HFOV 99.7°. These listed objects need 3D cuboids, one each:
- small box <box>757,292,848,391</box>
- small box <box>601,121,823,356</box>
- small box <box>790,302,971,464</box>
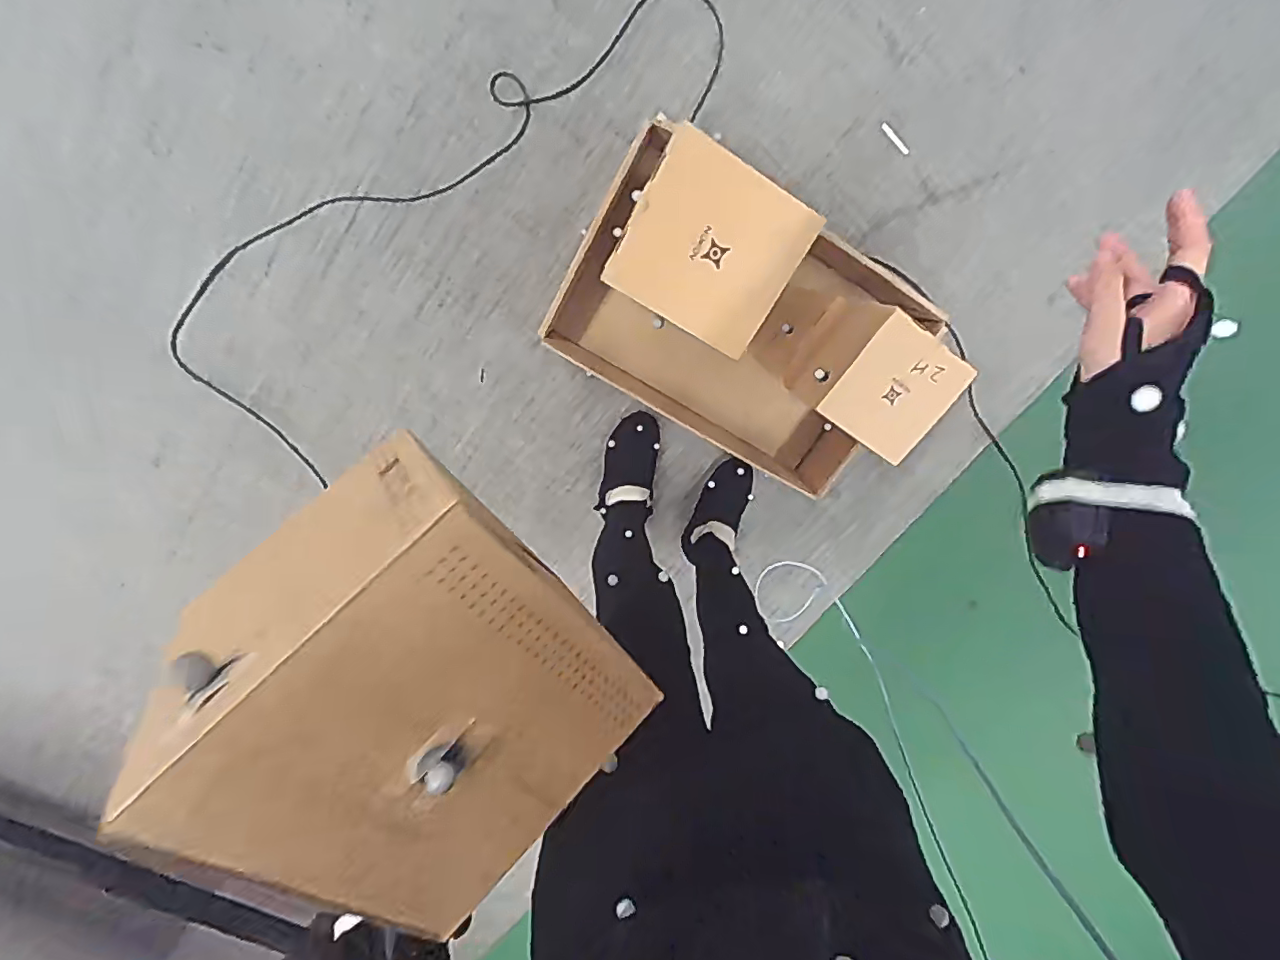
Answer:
[{"bbox_3d":[0.343,-0.229,1.004,0.179,0.176,0.168,32,107,-13],"label":"small box"},{"bbox_3d":[0.072,-0.271,0.627,0.179,0.176,0.168,28,110,-11],"label":"small box"},{"bbox_3d":[0.360,-0.160,0.854,0.168,0.176,0.179,32,106,-15],"label":"small box"}]
